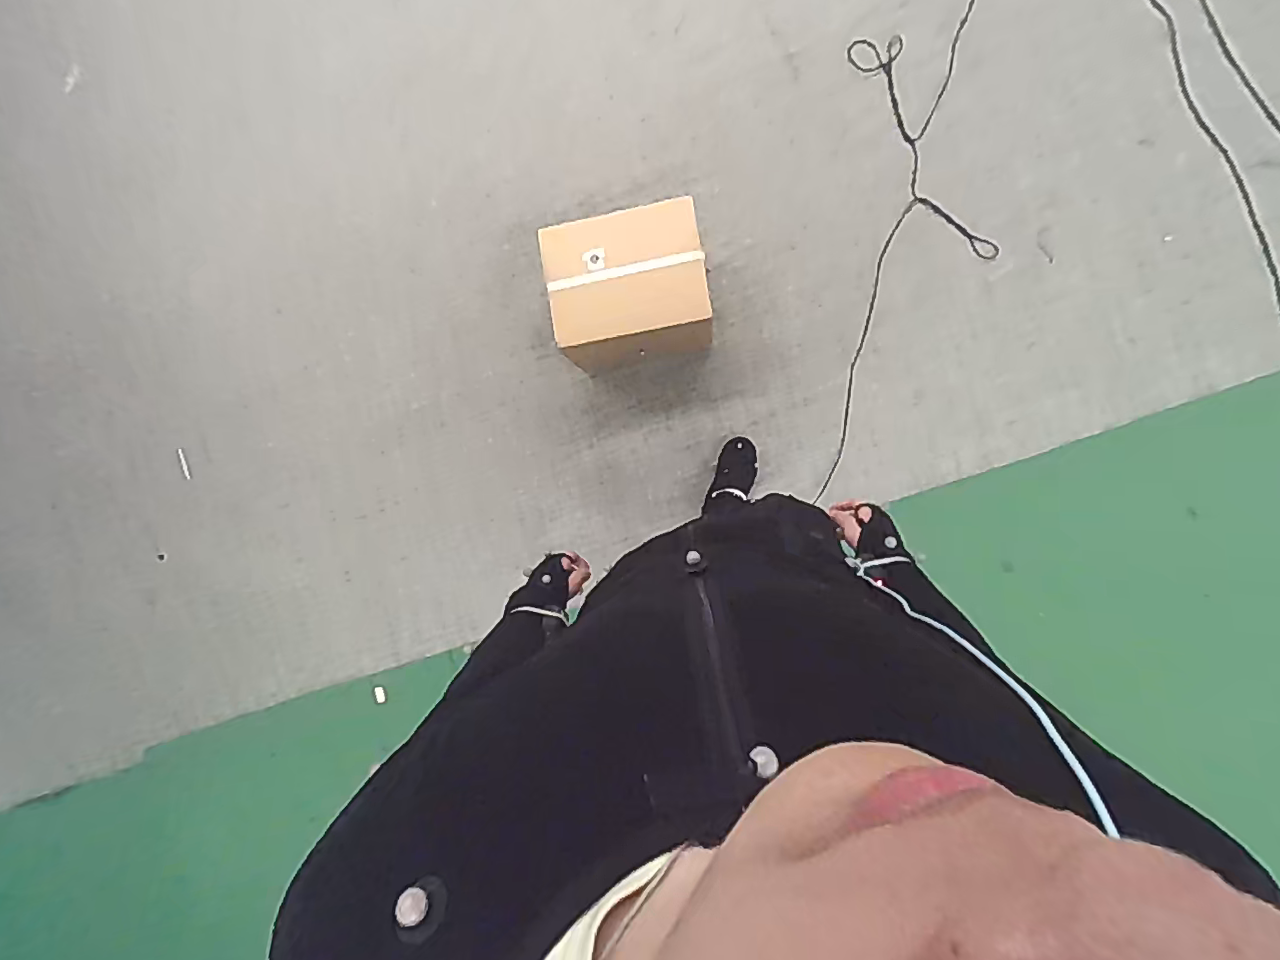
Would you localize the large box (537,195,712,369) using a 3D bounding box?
[{"bbox_3d":[-0.024,-0.521,1.501,0.408,0.320,0.320,-9,88,8],"label":"large box"}]
